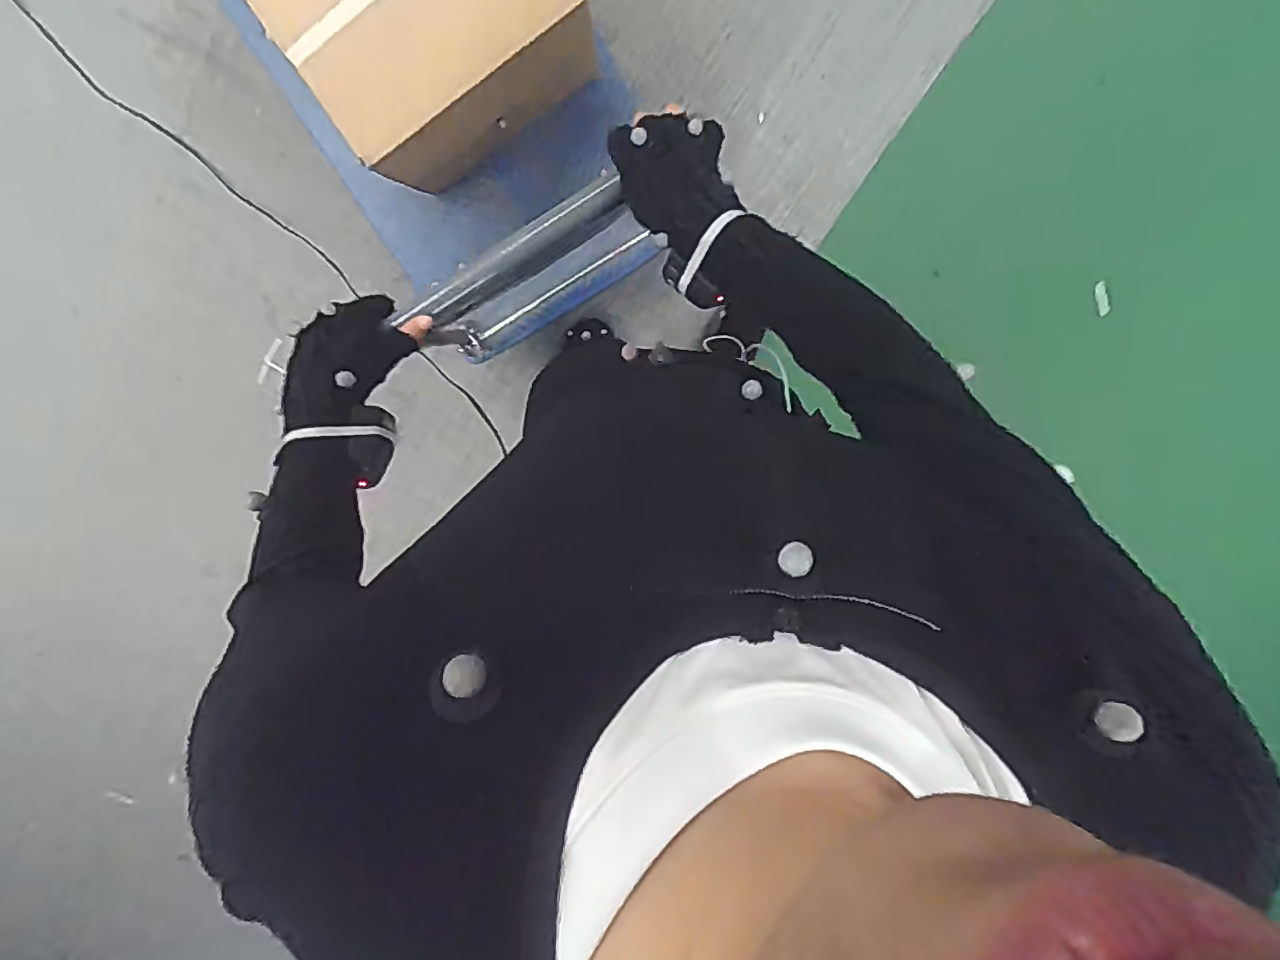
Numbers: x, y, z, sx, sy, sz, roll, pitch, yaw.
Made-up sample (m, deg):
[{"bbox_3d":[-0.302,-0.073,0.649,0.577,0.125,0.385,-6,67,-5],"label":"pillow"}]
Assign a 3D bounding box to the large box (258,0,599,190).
[{"bbox_3d":[-0.320,-0.756,0.891,0.408,0.320,0.320,-30,108,11],"label":"large box"}]
